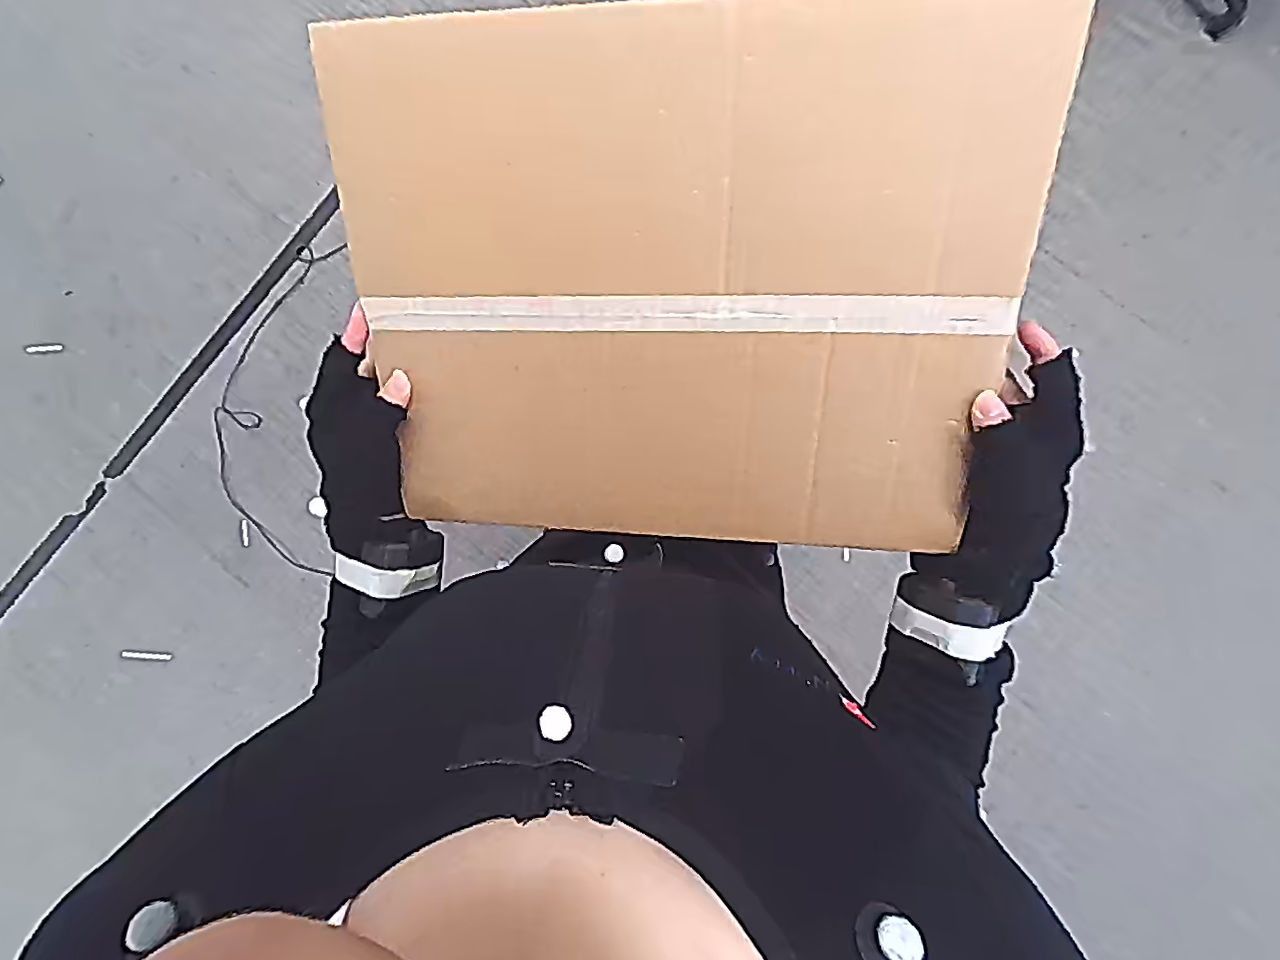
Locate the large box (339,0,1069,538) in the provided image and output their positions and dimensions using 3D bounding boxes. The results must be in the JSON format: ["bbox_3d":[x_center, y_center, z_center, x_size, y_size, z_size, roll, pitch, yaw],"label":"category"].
[{"bbox_3d":[0.038,-0.162,0.484,0.408,0.320,0.320,3,114,8],"label":"large box"}]
